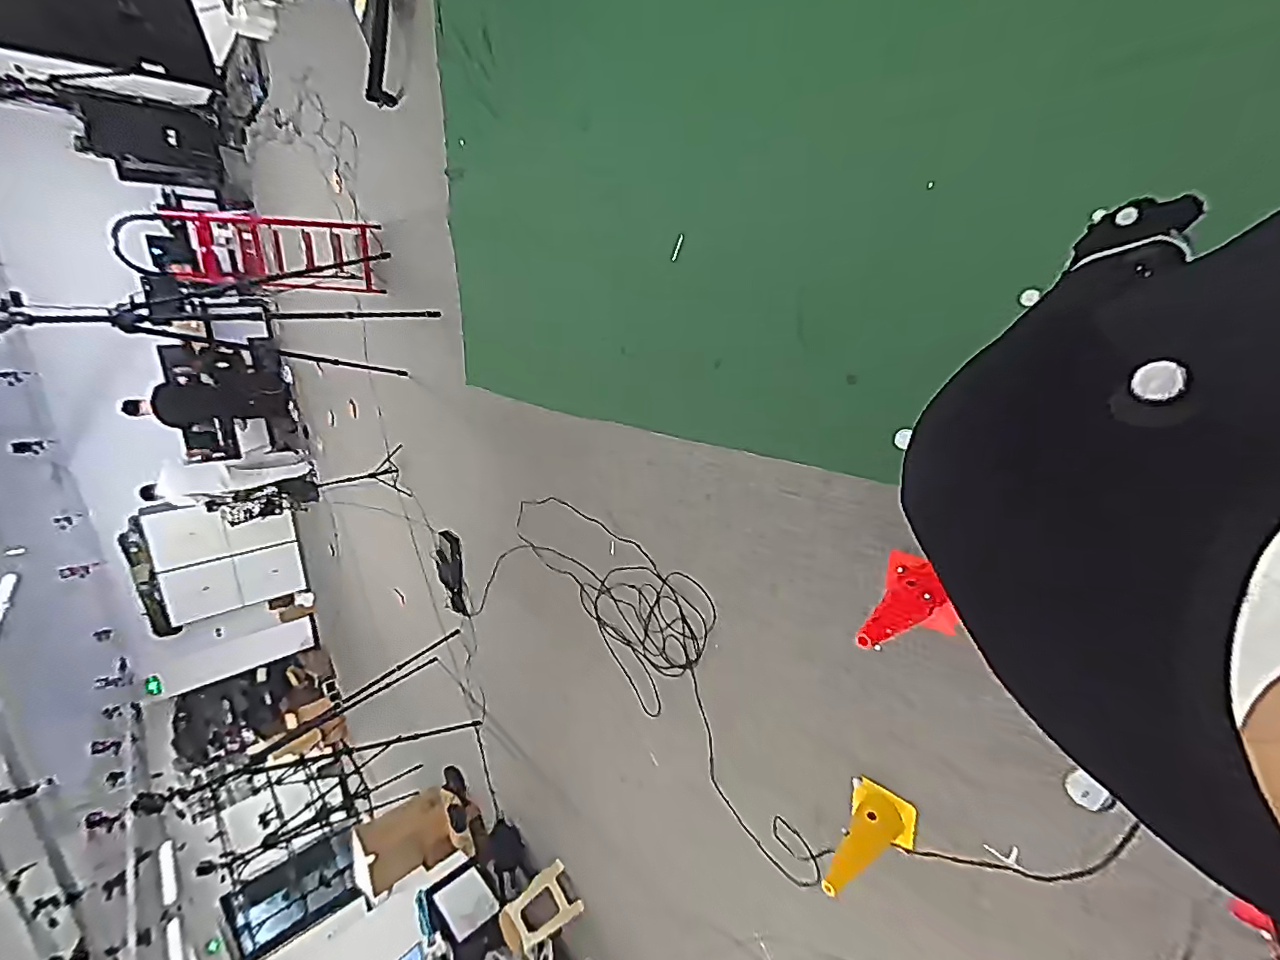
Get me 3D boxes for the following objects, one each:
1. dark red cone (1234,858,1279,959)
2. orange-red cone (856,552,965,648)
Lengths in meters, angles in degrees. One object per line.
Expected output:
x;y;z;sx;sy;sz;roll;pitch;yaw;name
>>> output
1.203;0.901;0.953;0.202;0.394;0.201;11;108;46;dark red cone
0.670;0.353;1.415;0.198;0.360;0.199;19;117;45;orange-red cone
